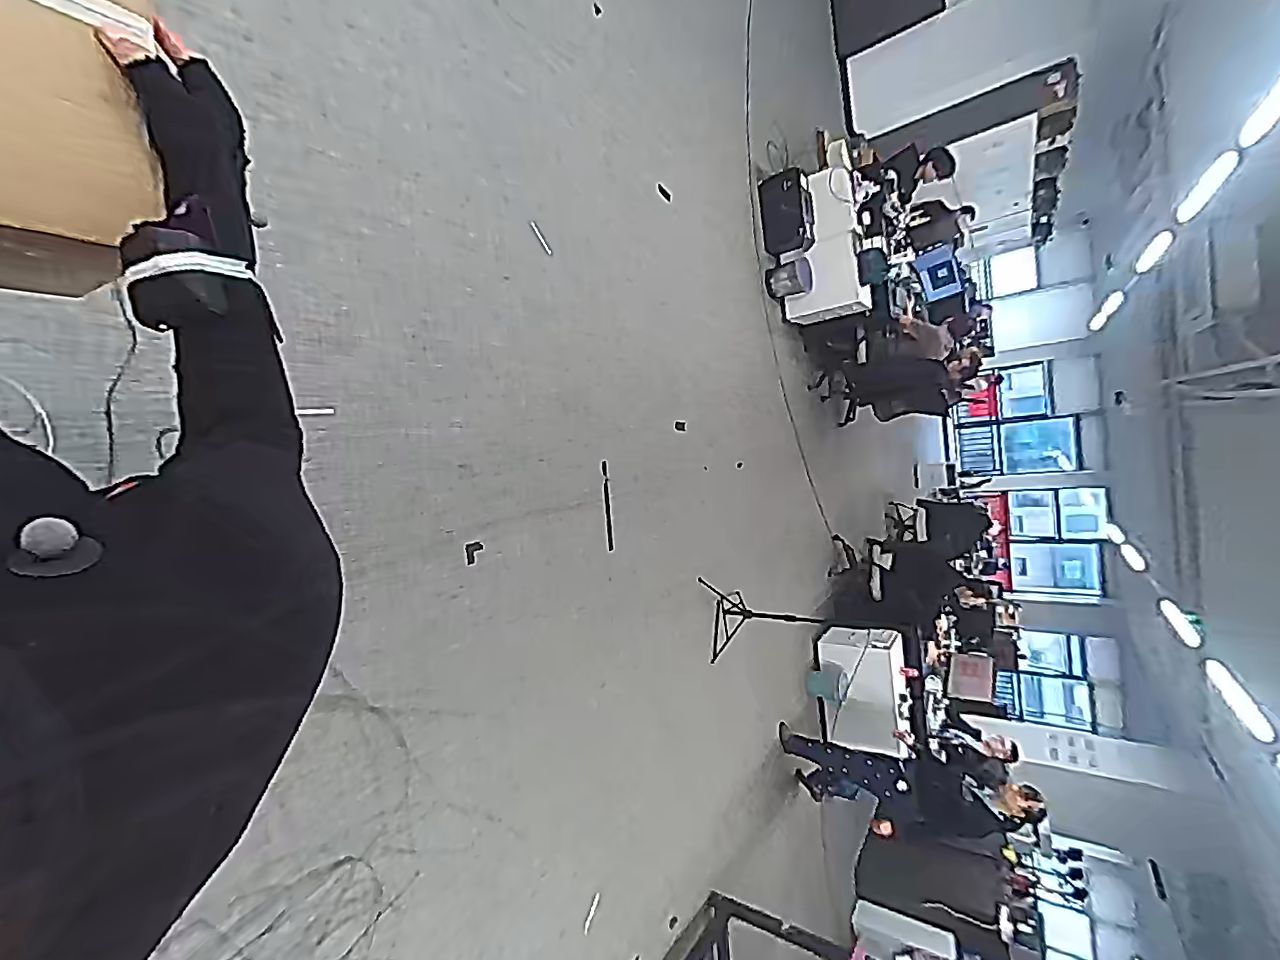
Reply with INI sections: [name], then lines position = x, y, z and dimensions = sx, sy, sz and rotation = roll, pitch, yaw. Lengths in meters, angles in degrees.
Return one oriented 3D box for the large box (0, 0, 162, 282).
[large box]
position = -0.613, -0.335, 0.333
dimensions = 0.408, 0.320, 0.320
rotation = -8, 103, -55
